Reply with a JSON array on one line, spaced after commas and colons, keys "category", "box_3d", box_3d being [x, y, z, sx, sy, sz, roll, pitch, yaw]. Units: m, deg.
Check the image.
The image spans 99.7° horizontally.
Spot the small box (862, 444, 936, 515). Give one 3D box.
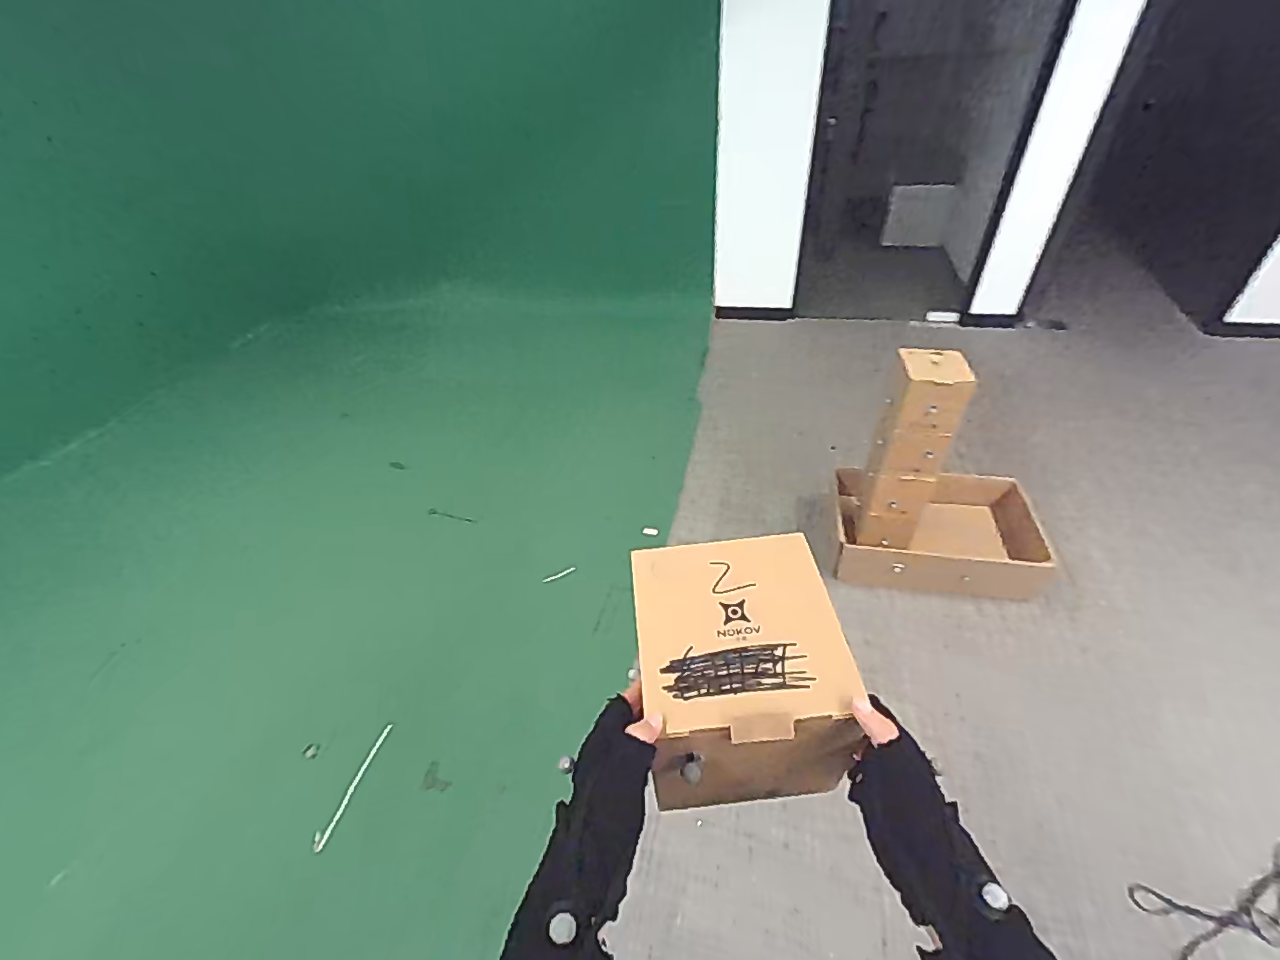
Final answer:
[{"category": "small box", "box_3d": [0.823, -0.011, 1.737, 0.168, 0.176, 0.179, 6, 42, 10]}]

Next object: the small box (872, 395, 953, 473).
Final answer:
[{"category": "small box", "box_3d": [0.815, -0.139, 1.634, 0.168, 0.176, 0.179, 5, 42, 8]}]

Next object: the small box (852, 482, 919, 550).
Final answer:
[{"category": "small box", "box_3d": [0.830, 0.112, 1.842, 0.168, 0.176, 0.179, 6, 42, 11]}]

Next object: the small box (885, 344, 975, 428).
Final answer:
[{"category": "small box", "box_3d": [0.811, -0.264, 1.529, 0.168, 0.176, 0.179, 6, 43, 8]}]
